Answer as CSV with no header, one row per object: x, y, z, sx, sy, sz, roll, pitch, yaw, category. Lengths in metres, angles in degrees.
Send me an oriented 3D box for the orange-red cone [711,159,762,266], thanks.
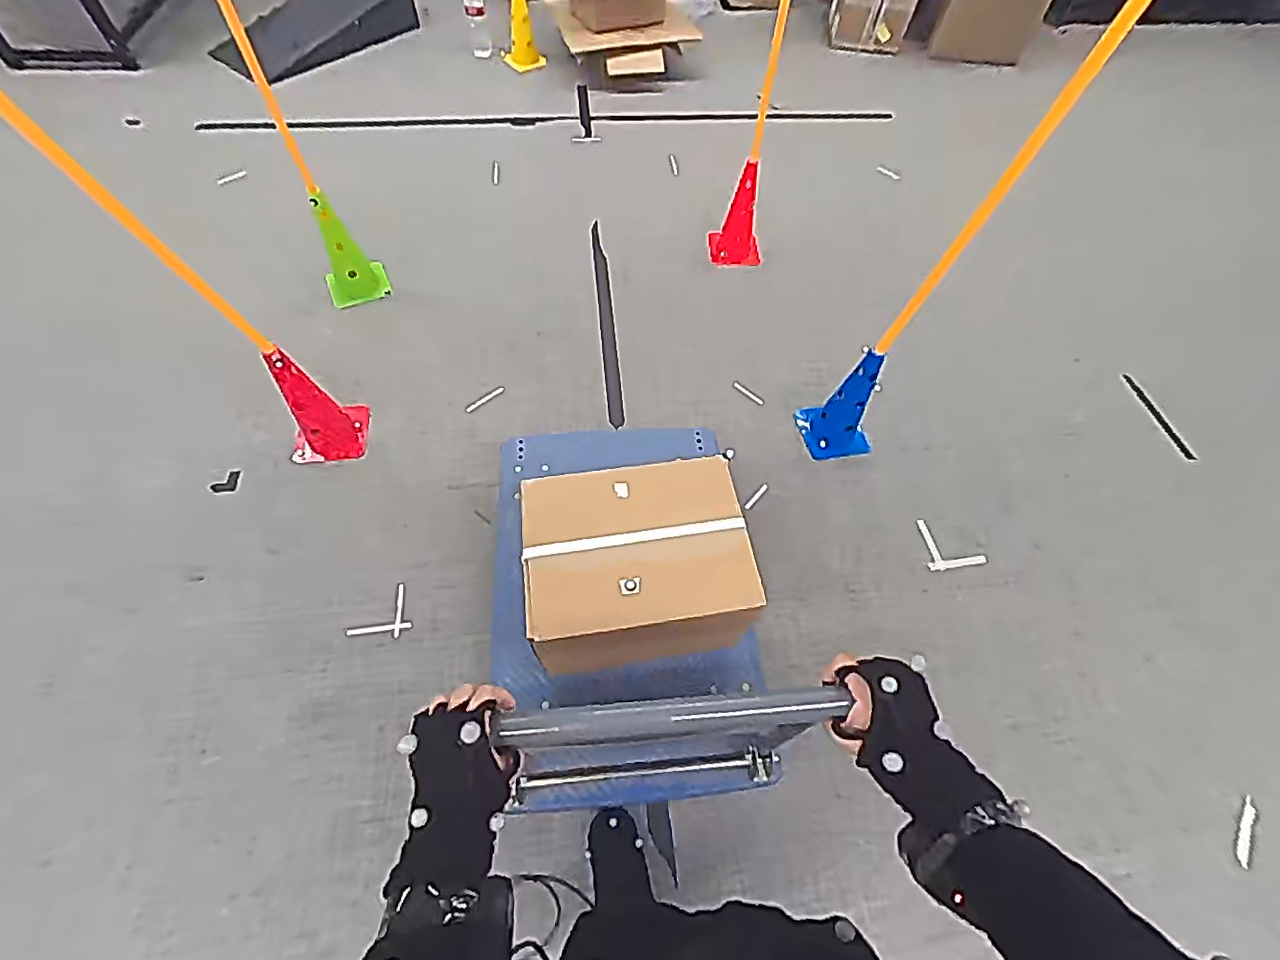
0.397,-1.018,2.030,0.199,0.360,0.198,2,60,-3,orange-red cone

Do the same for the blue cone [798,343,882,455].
0.628,-0.248,1.601,0.193,0.380,0.192,-8,59,-8,blue cone
